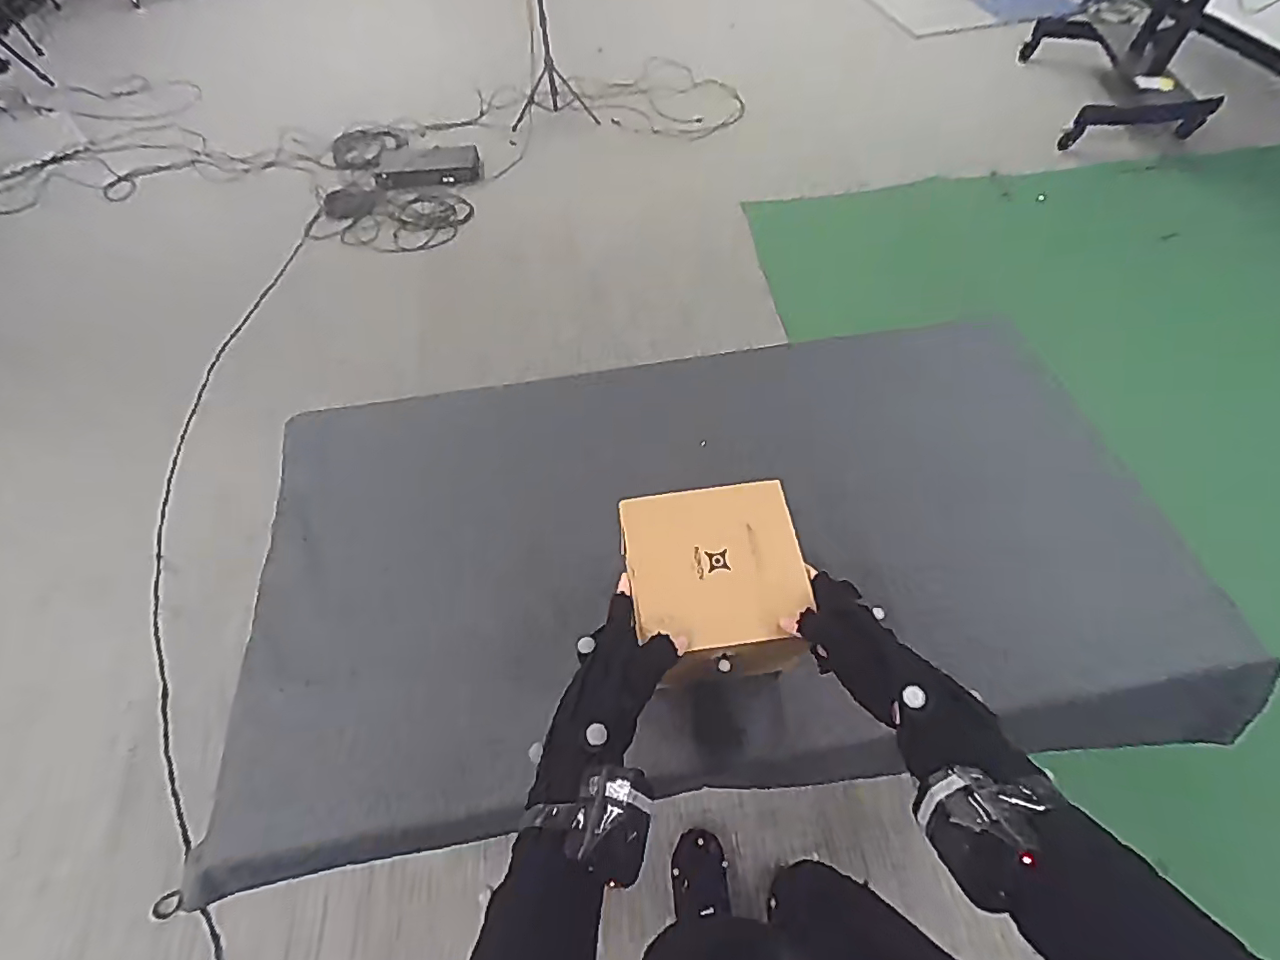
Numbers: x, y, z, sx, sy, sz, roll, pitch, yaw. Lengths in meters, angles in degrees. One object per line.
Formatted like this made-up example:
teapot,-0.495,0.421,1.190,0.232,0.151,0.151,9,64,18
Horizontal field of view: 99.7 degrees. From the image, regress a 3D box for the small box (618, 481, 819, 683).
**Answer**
small box,0.075,0.122,0.609,0.179,0.176,0.168,-8,61,-3
